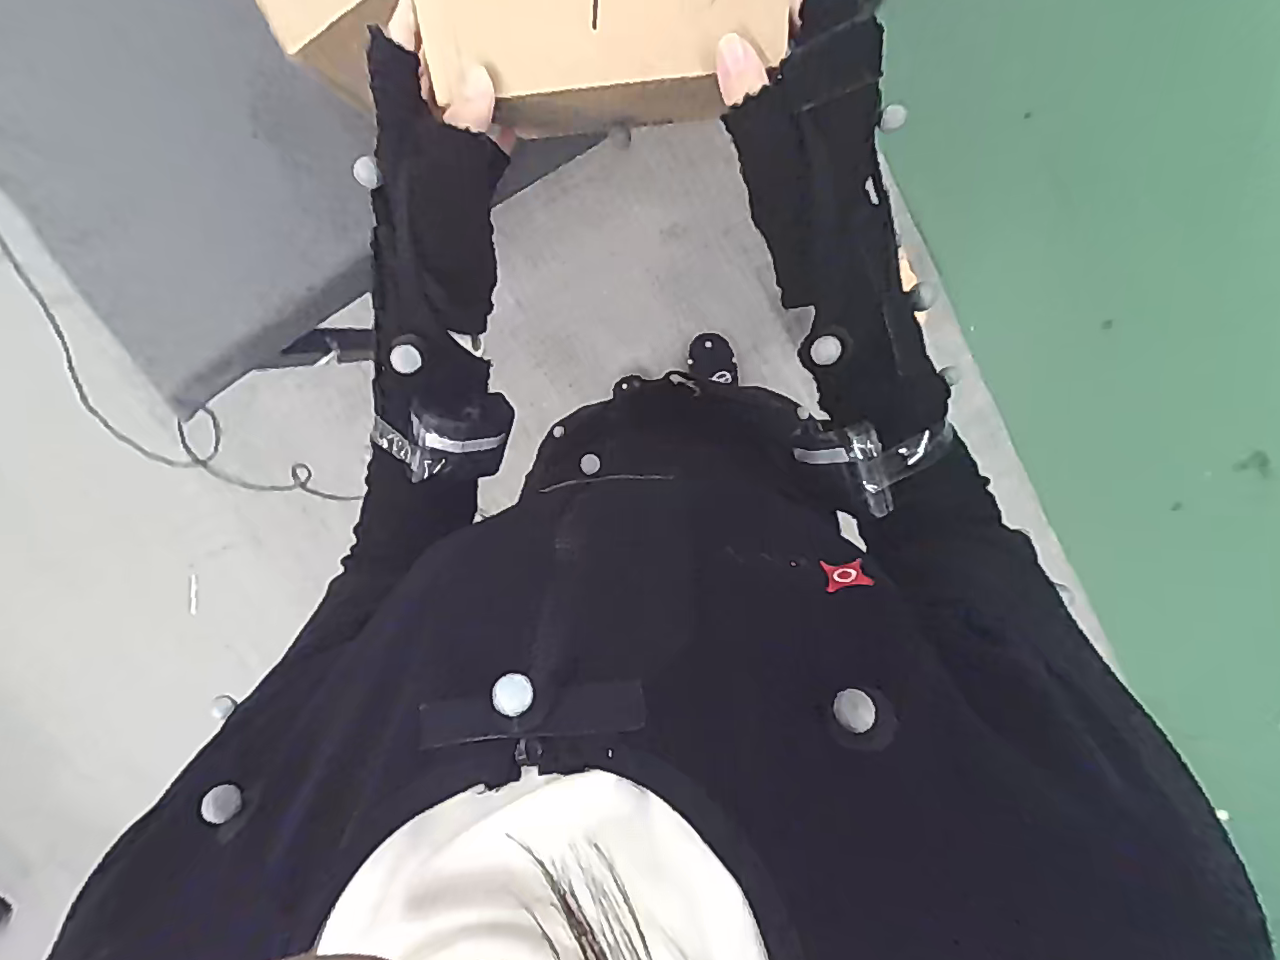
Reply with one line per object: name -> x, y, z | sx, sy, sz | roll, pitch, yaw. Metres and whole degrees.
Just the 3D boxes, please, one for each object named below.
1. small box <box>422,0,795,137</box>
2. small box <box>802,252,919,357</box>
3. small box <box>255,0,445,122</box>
small box -> -0.011, -0.294, 0.281 | 0.168, 0.176, 0.179 | 0, 117, 5
small box -> 0.488, -0.389, 1.220 | 0.179, 0.176, 0.168 | -22, 101, 11
small box -> -0.249, -0.479, 0.498 | 0.179, 0.176, 0.168 | -26, 101, 11
